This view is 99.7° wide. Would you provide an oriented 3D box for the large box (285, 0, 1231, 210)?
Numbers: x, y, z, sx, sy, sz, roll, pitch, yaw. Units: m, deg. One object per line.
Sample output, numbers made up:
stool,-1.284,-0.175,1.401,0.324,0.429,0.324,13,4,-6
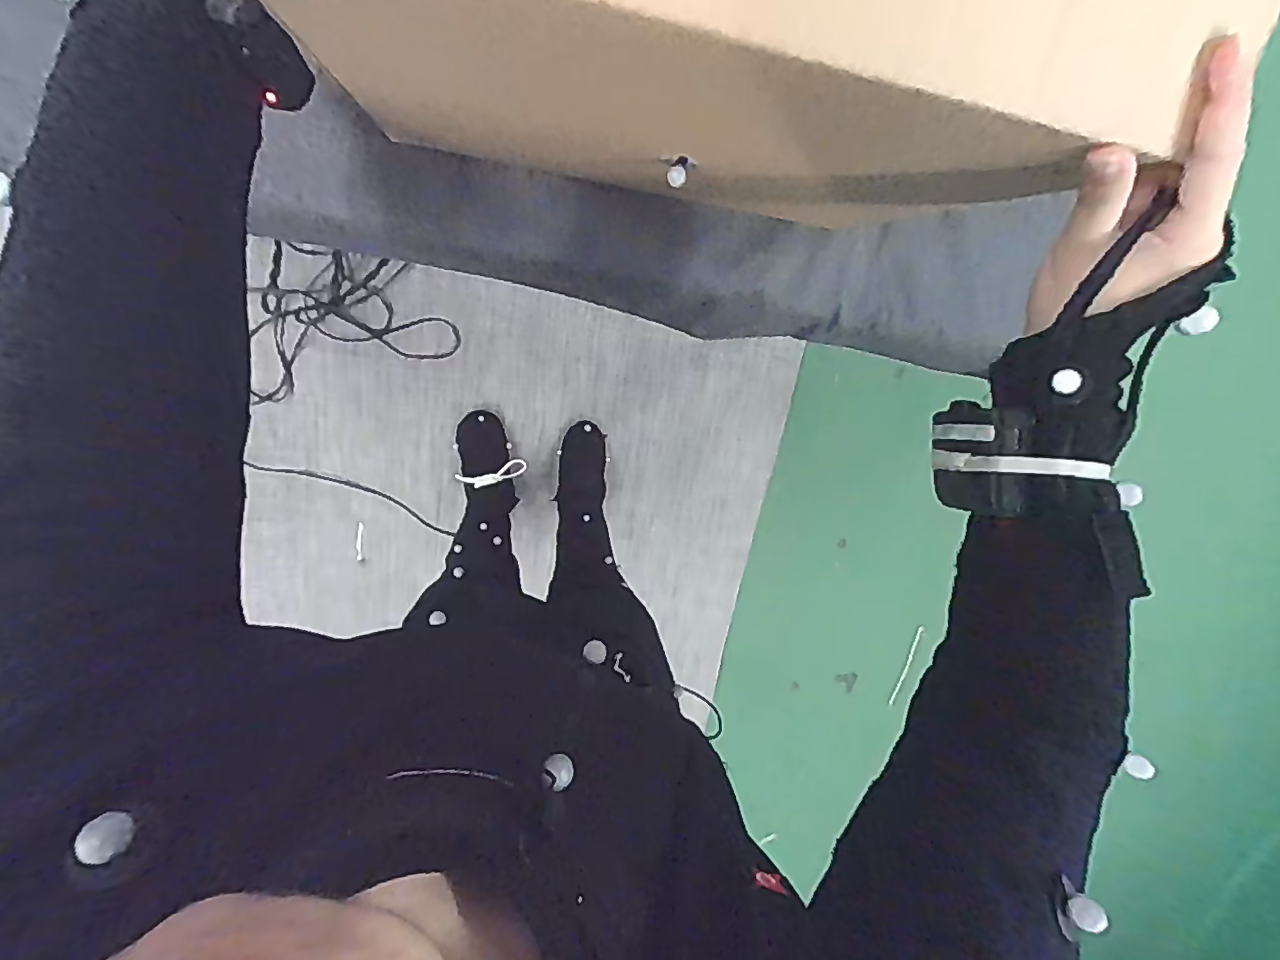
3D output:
large box,0.051,-0.357,0.301,0.408,0.320,0.320,3,109,-13
